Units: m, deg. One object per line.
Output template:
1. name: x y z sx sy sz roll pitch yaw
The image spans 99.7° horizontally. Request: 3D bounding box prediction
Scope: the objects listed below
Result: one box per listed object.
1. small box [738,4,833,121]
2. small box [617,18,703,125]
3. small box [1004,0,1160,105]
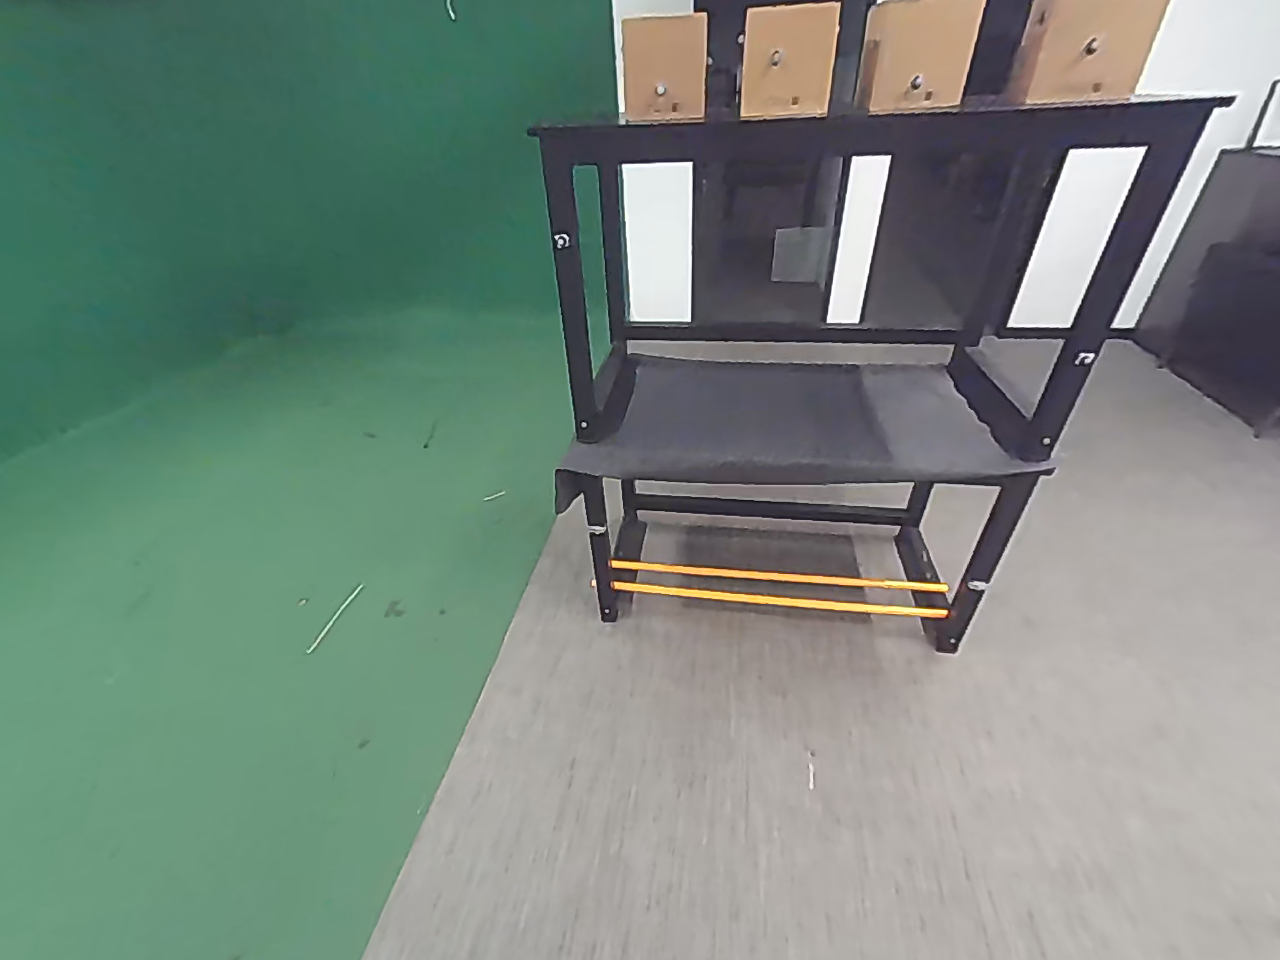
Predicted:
1. small box: 0.287 -0.828 1.086 0.168 0.176 0.179 4 36 10
2. small box: 0.048 -0.854 1.140 0.168 0.176 0.179 0 36 6
3. small box: 0.790 -0.787 0.977 0.168 0.176 0.179 9 37 17
